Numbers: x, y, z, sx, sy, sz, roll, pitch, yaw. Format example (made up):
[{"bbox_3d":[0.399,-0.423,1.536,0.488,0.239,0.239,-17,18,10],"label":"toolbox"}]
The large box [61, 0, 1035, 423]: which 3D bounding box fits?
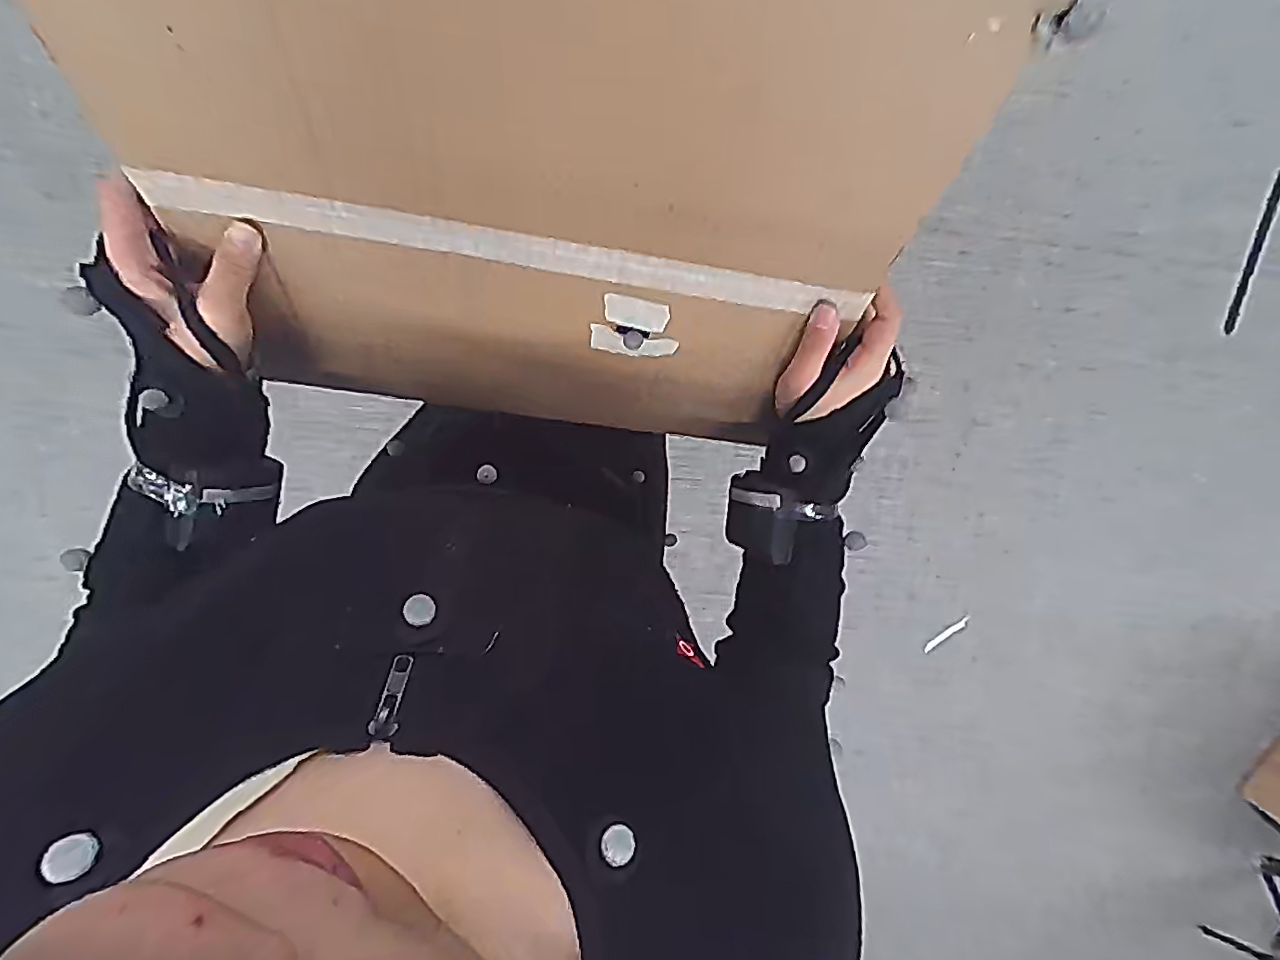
[{"bbox_3d":[-0.056,-0.270,0.389,0.408,0.320,0.320,5,150,-8],"label":"large box"}]
